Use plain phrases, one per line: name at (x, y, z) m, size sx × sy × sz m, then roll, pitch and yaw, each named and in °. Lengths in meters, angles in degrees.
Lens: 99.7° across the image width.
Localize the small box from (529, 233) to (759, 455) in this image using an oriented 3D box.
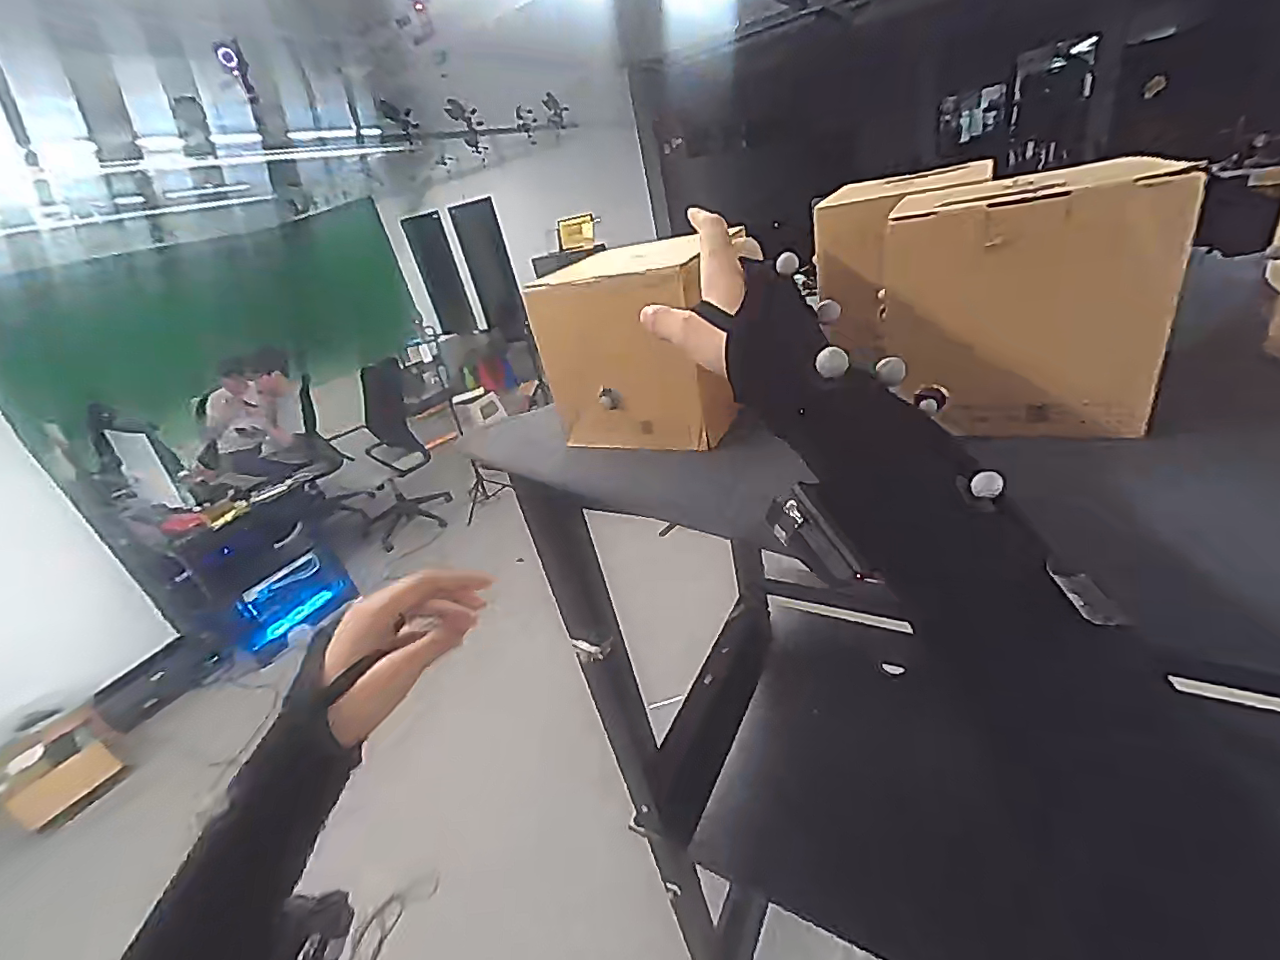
small box at (0.019, -0.141, 0.557) m, size 0.168 × 0.176 × 0.179 m, roll 3°, pitch 33°, yaw 28°
